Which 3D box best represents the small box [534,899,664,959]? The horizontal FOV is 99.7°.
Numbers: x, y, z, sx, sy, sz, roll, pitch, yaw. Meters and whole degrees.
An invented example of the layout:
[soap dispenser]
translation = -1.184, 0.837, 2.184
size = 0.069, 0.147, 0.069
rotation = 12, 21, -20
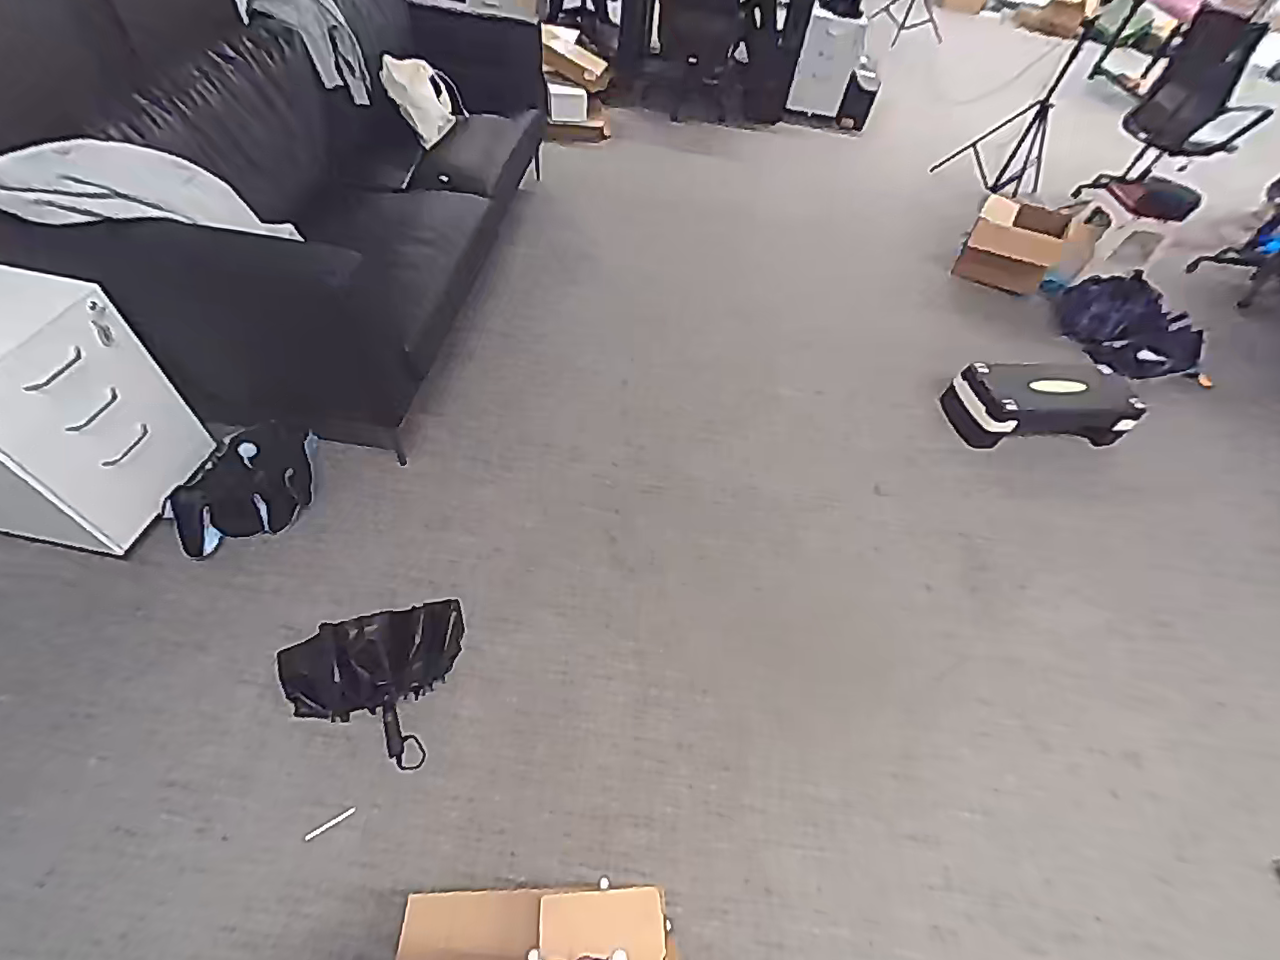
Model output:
[small box]
translation = -0.061, 0.703, 0.766
size = 0.179, 0.176, 0.168
rotation = 0, 50, -6
